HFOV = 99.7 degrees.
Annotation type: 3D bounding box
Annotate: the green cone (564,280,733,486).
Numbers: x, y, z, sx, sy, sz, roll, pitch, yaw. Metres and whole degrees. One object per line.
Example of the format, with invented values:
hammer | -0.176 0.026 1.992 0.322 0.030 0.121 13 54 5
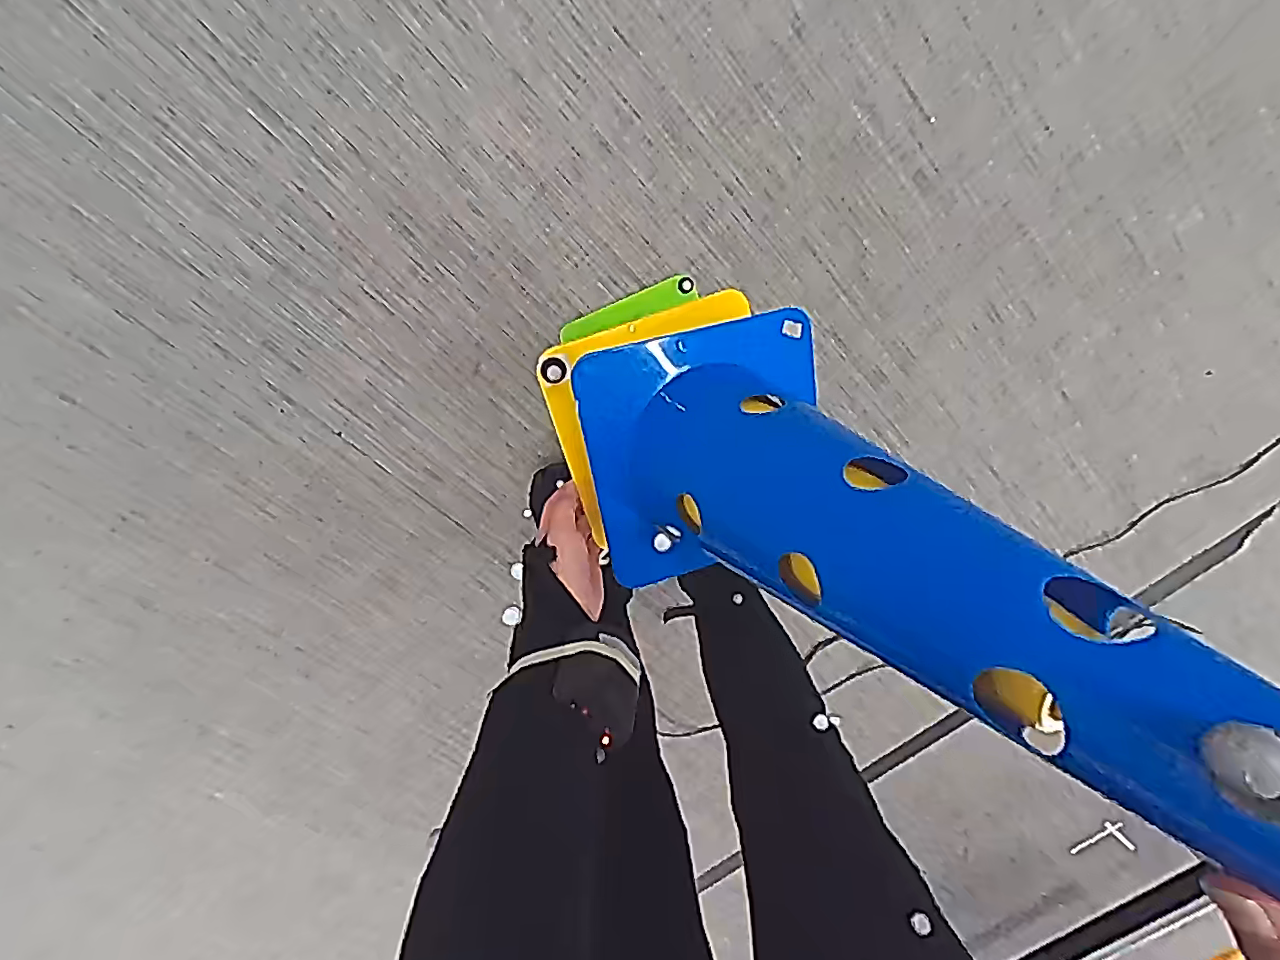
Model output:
green cone | 0.028 -0.087 0.611 0.200 0.368 0.202 -23 113 6
